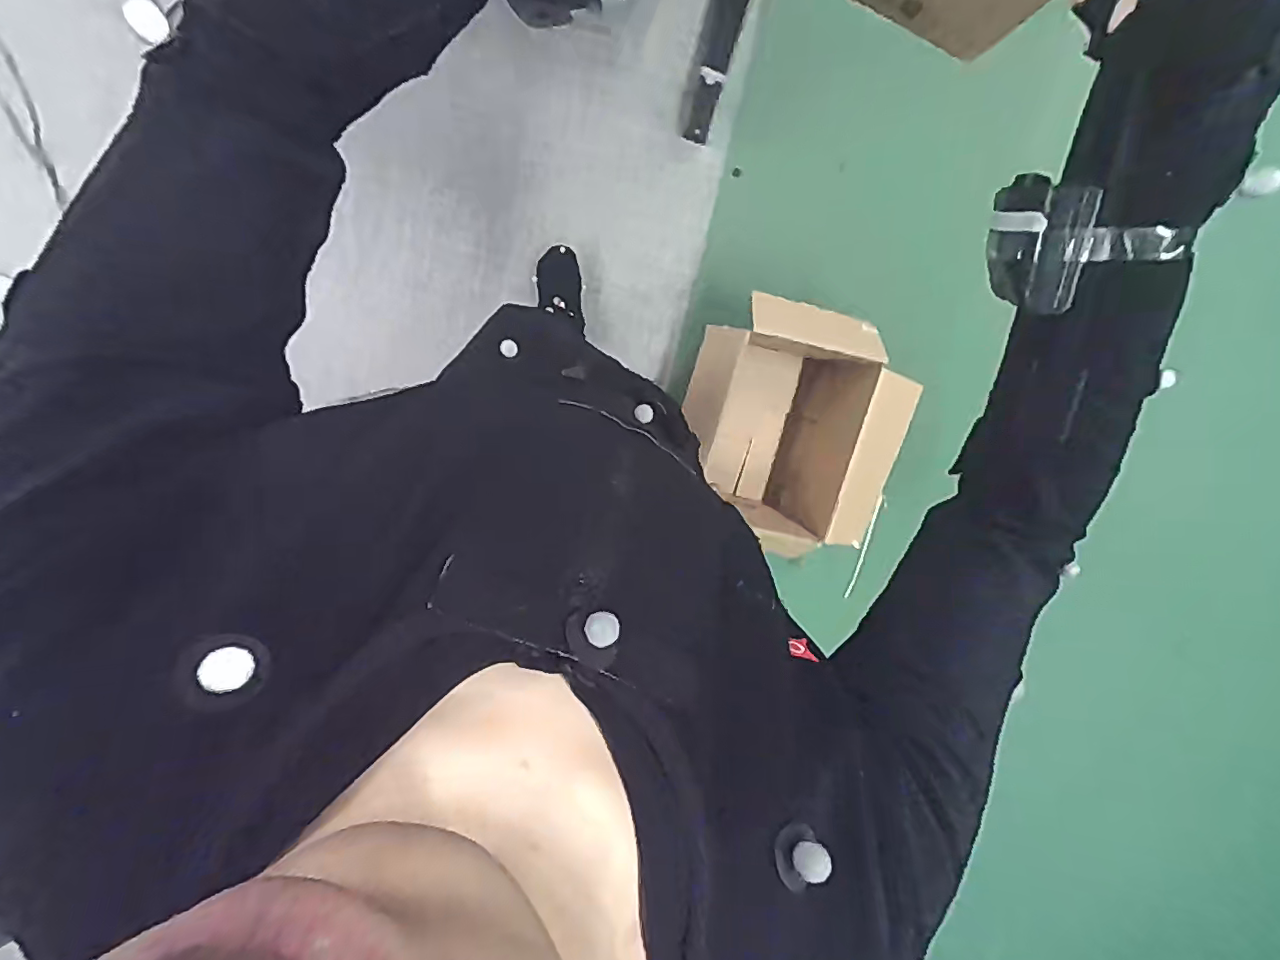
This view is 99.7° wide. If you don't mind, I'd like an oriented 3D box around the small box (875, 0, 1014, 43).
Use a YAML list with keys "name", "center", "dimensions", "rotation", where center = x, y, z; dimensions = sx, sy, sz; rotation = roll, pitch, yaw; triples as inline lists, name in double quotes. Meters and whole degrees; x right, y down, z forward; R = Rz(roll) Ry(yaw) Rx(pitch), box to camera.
- name: "small box"
  center: [0.182, -0.378, 0.269]
  dimensions: [0.168, 0.176, 0.179]
  rotation: [21, 102, -8]
